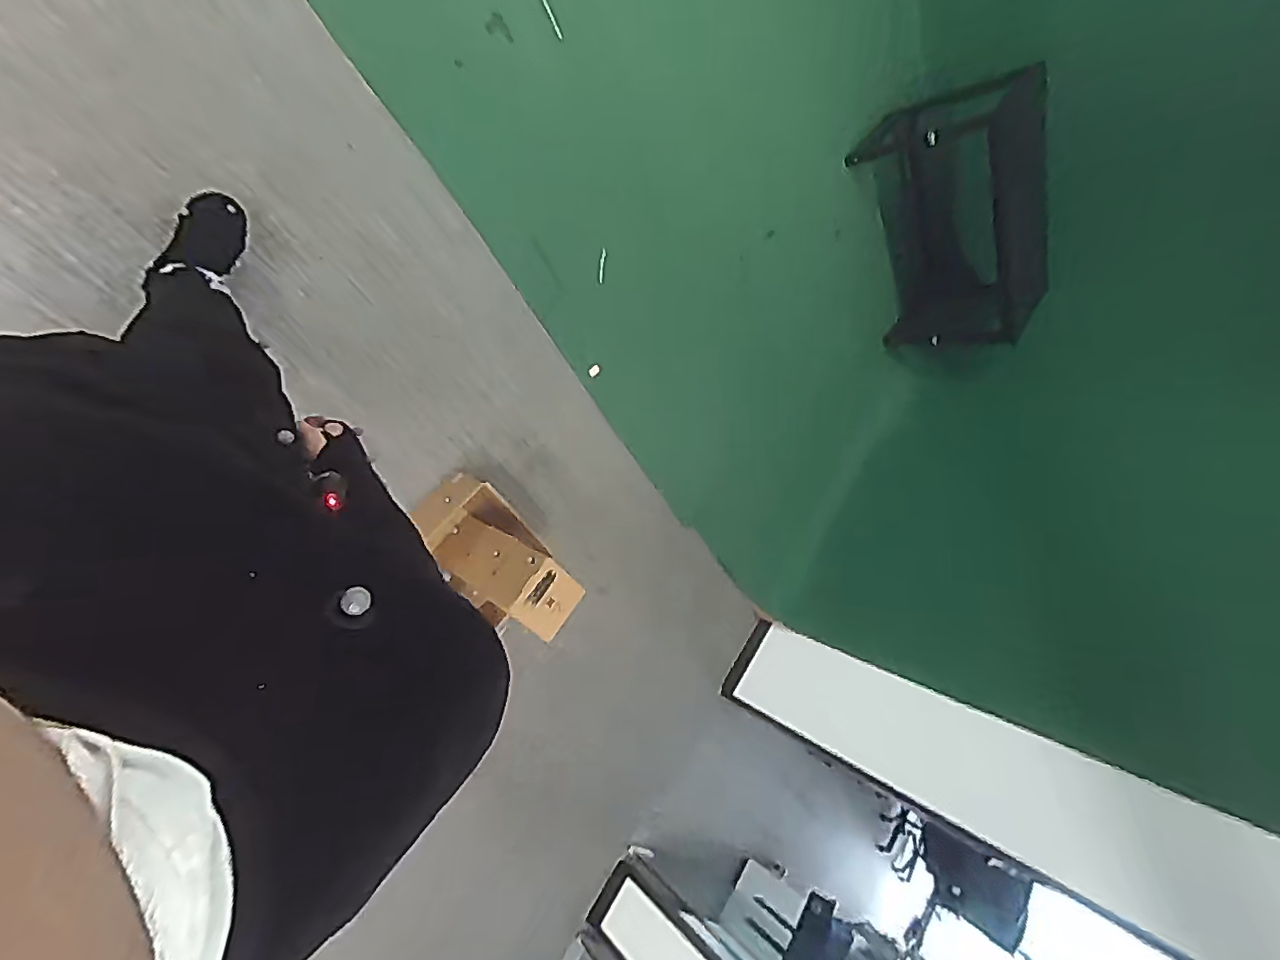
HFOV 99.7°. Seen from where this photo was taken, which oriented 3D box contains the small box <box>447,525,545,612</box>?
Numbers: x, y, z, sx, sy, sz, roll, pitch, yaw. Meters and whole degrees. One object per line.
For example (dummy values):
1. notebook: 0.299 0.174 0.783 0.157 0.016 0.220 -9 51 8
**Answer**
1. small box: -0.418 0.250 1.565 0.168 0.176 0.179 -55 132 -22
